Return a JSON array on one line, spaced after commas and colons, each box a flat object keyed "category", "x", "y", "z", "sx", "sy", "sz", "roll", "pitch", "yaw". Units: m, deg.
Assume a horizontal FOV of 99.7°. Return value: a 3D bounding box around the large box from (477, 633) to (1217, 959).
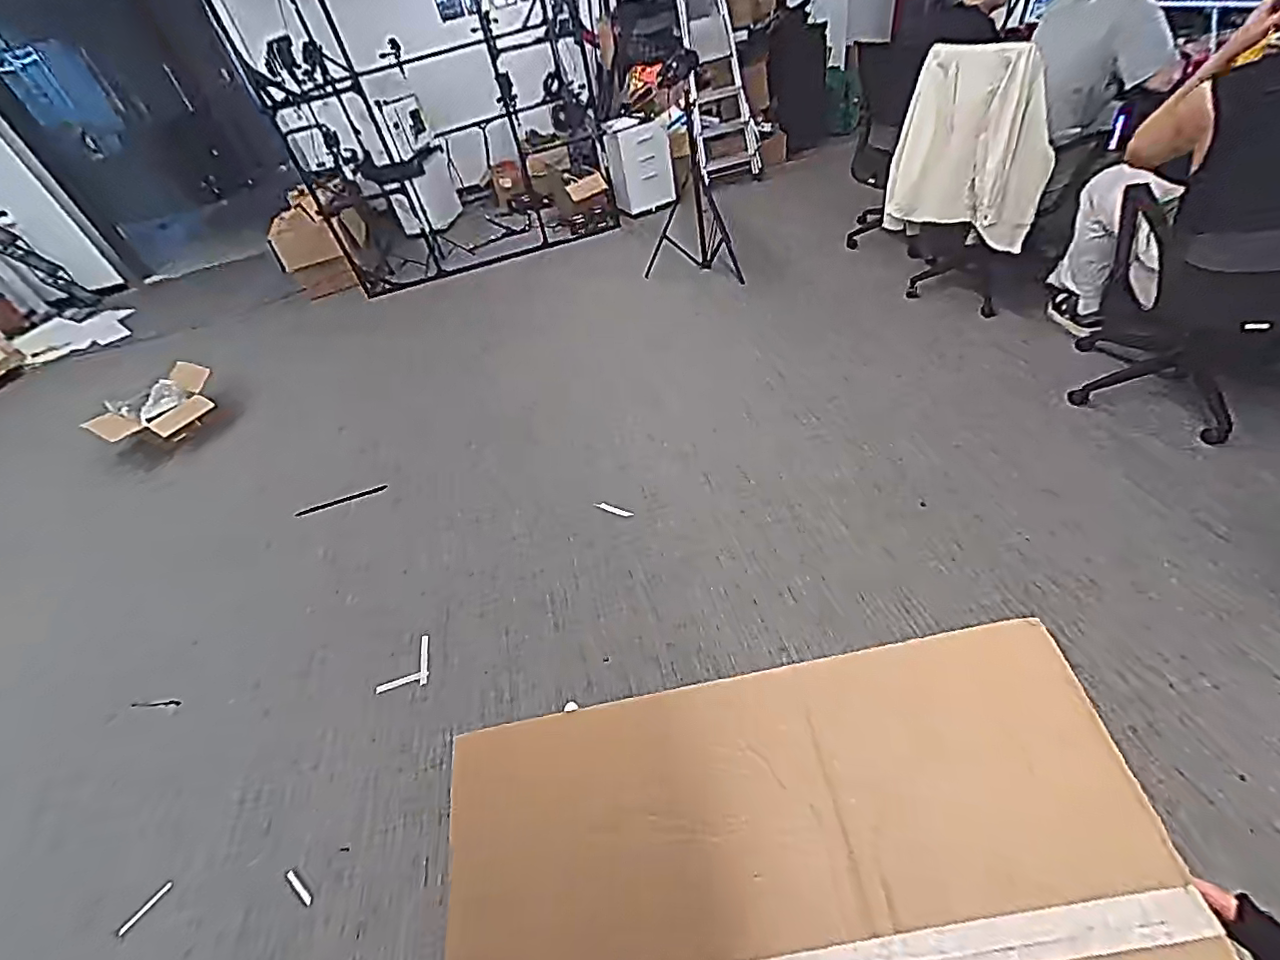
[{"category": "large box", "x": 0.124, "y": 0.353, "z": 0.423, "sx": 0.408, "sy": 0.320, "sz": 0.320, "roll": -13, "pitch": 58, "yaw": 3}]
